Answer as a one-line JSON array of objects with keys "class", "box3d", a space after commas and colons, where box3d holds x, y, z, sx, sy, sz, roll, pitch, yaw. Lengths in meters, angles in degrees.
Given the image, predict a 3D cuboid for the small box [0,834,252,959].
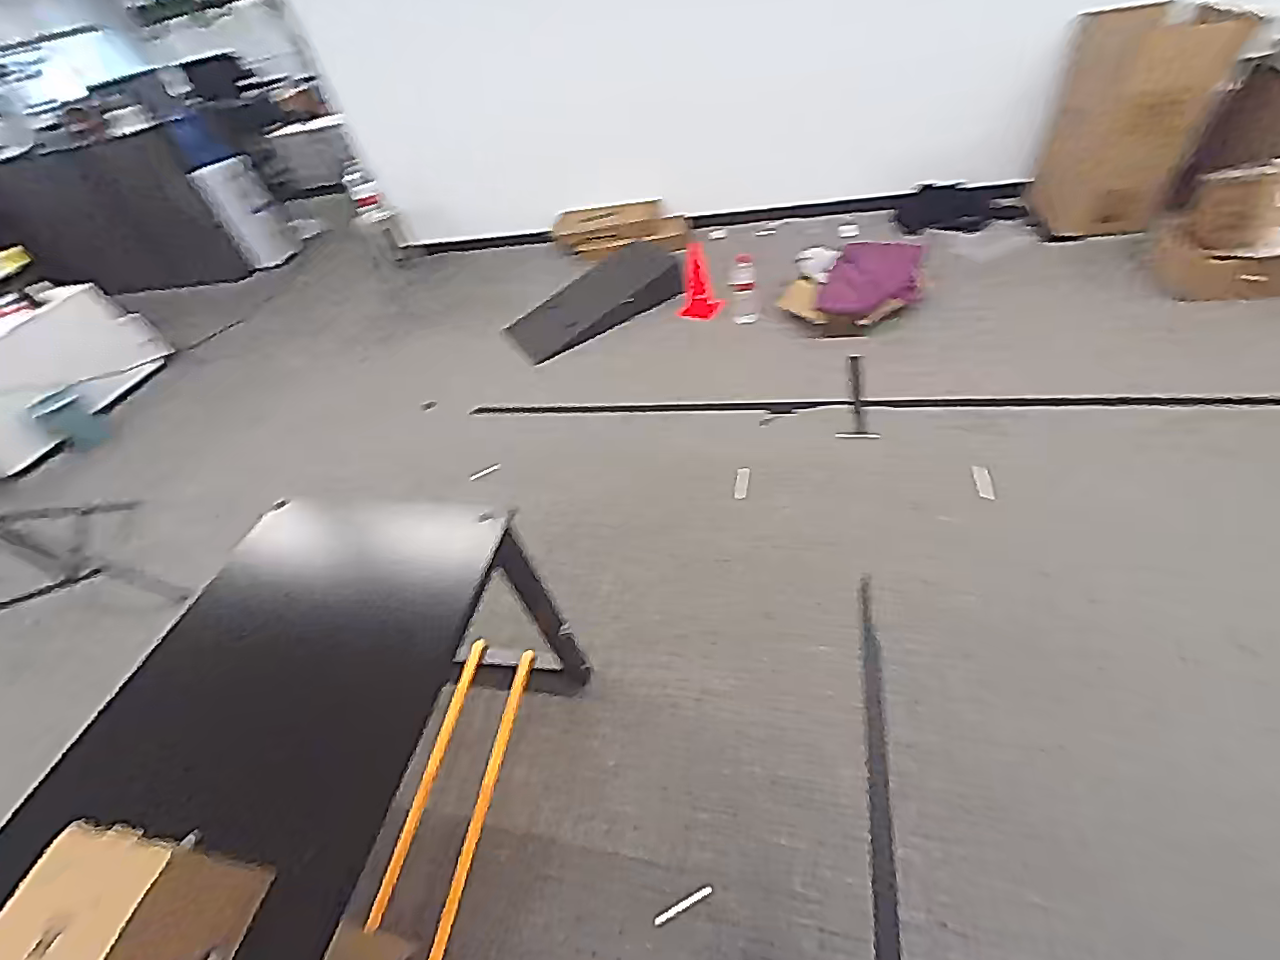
[{"class": "small box", "box3d": [-0.581, 0.523, 0.596, 0.168, 0.176, 0.179, 0, 46, 14]}]
